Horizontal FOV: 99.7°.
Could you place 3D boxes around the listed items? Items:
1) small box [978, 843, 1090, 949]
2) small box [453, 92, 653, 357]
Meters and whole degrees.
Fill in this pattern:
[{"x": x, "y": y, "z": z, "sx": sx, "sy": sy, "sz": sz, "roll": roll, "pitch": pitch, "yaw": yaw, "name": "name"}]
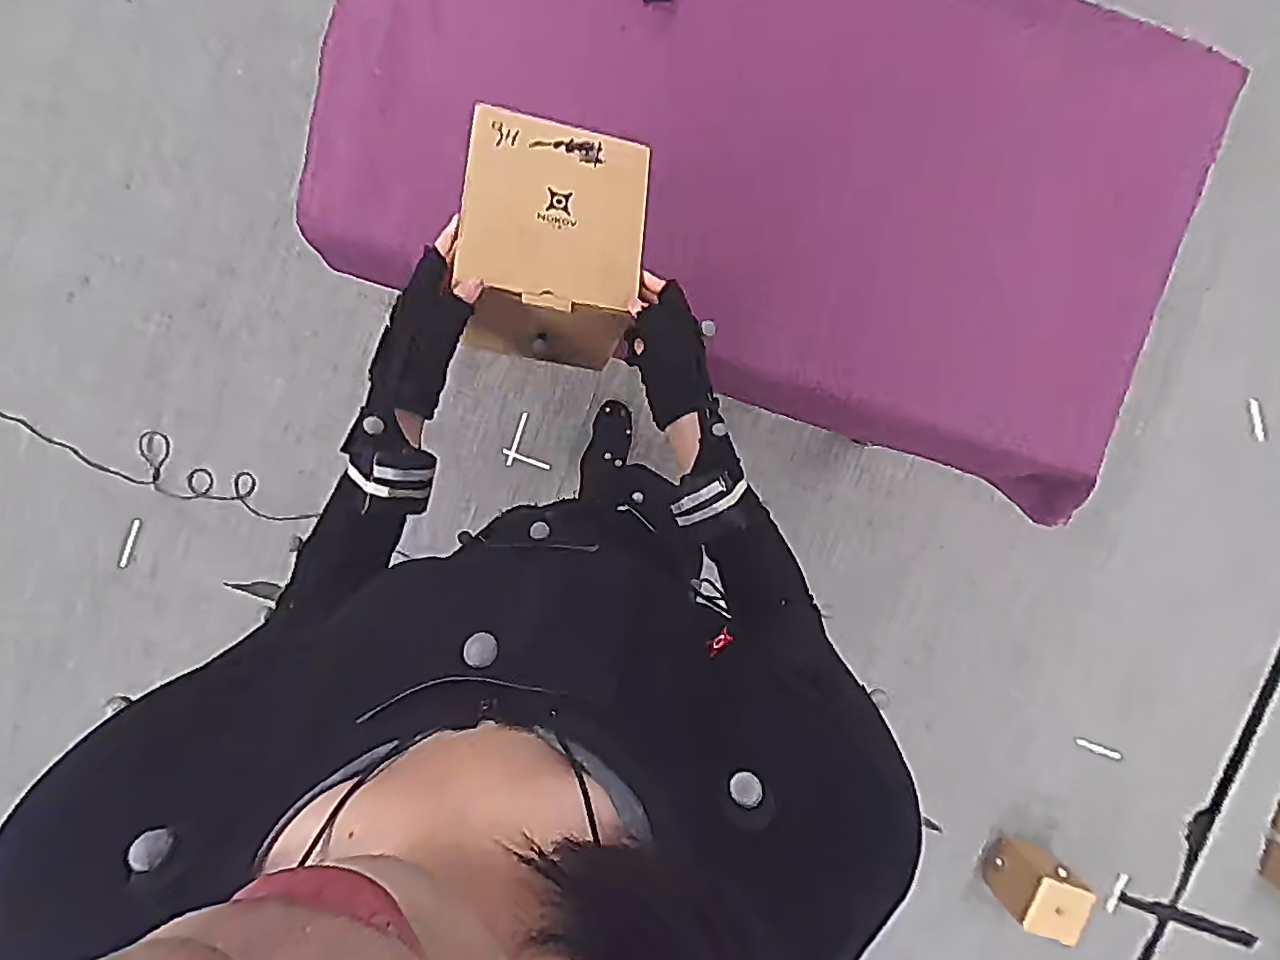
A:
[{"x": 1.164, "y": 1.228, "z": 1.609, "sx": 0.179, "sy": 0.176, "sz": 0.168, "roll": 21, "pitch": 92, "yaw": -4, "name": "small box"}, {"x": -0.093, "y": -0.243, "z": 0.565, "sx": 0.168, "sy": 0.176, "sz": 0.179, "roll": 7, "pitch": 83, "yaw": -14, "name": "small box"}]
